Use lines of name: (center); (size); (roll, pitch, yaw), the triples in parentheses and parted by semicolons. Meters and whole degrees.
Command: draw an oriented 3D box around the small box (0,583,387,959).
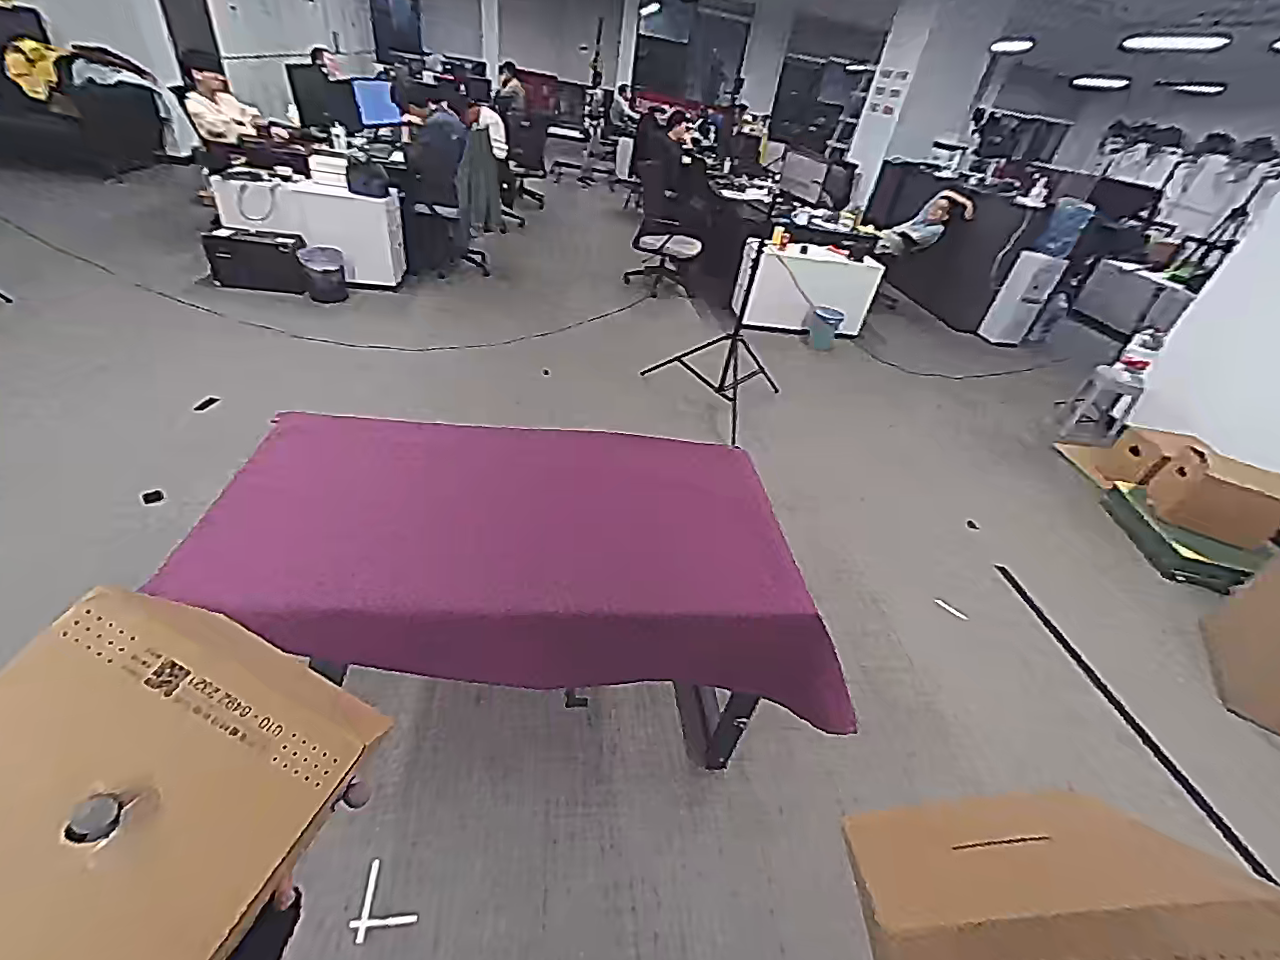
small box: (-0.280, 0.179, 0.323); (0.168, 0.179, 0.176); (34, 63, -4)
